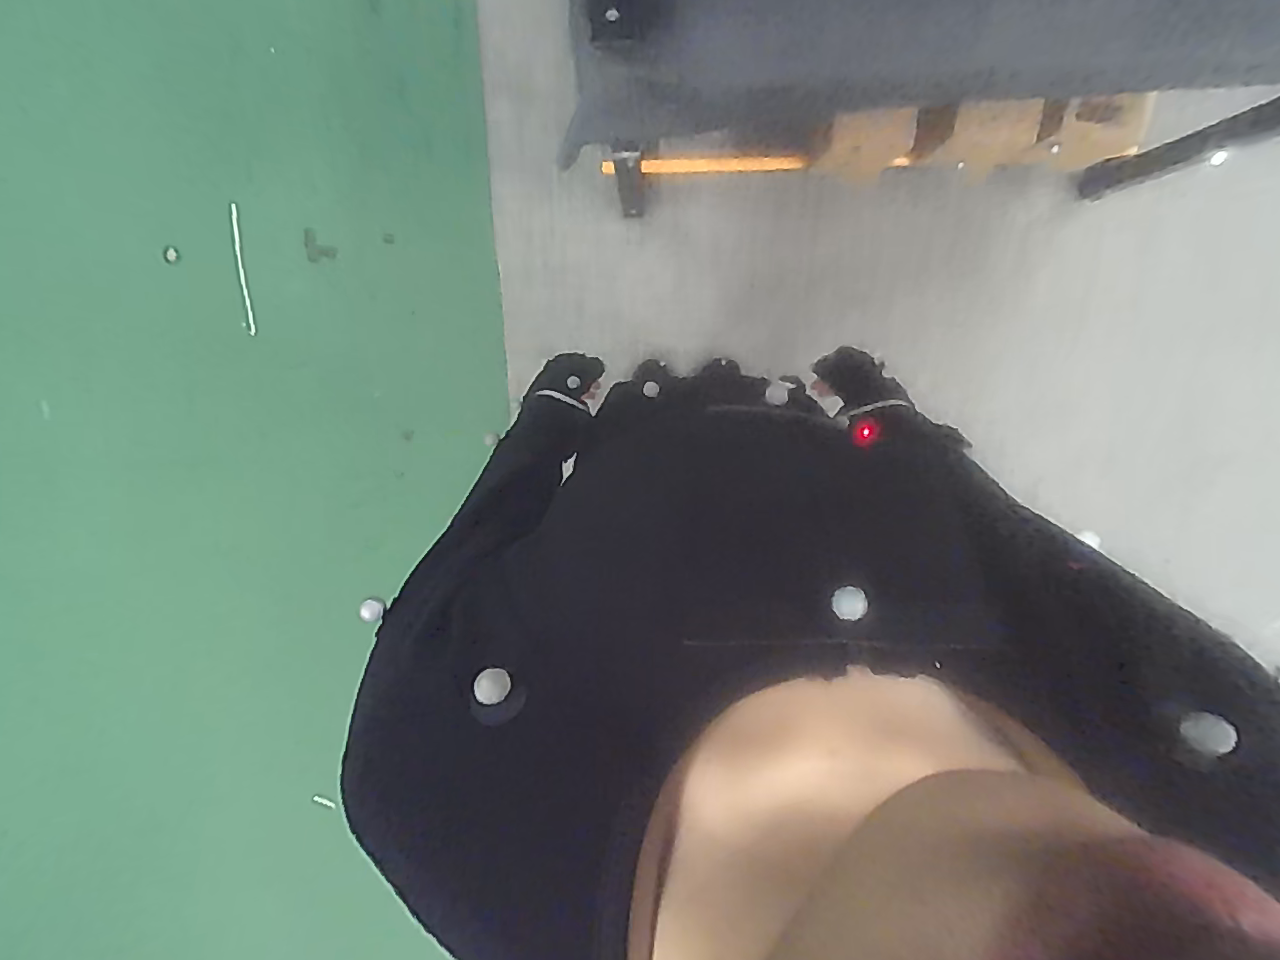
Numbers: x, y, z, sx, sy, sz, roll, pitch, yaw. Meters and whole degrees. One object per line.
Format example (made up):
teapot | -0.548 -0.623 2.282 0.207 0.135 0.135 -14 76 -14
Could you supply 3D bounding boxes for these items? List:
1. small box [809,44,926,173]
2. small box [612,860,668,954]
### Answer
small box | 0.459 -0.759 1.119 0.168 0.176 0.179 0 105 0
small box | 0.000 1.338 1.705 0.168 0.176 0.179 -2 103 2
